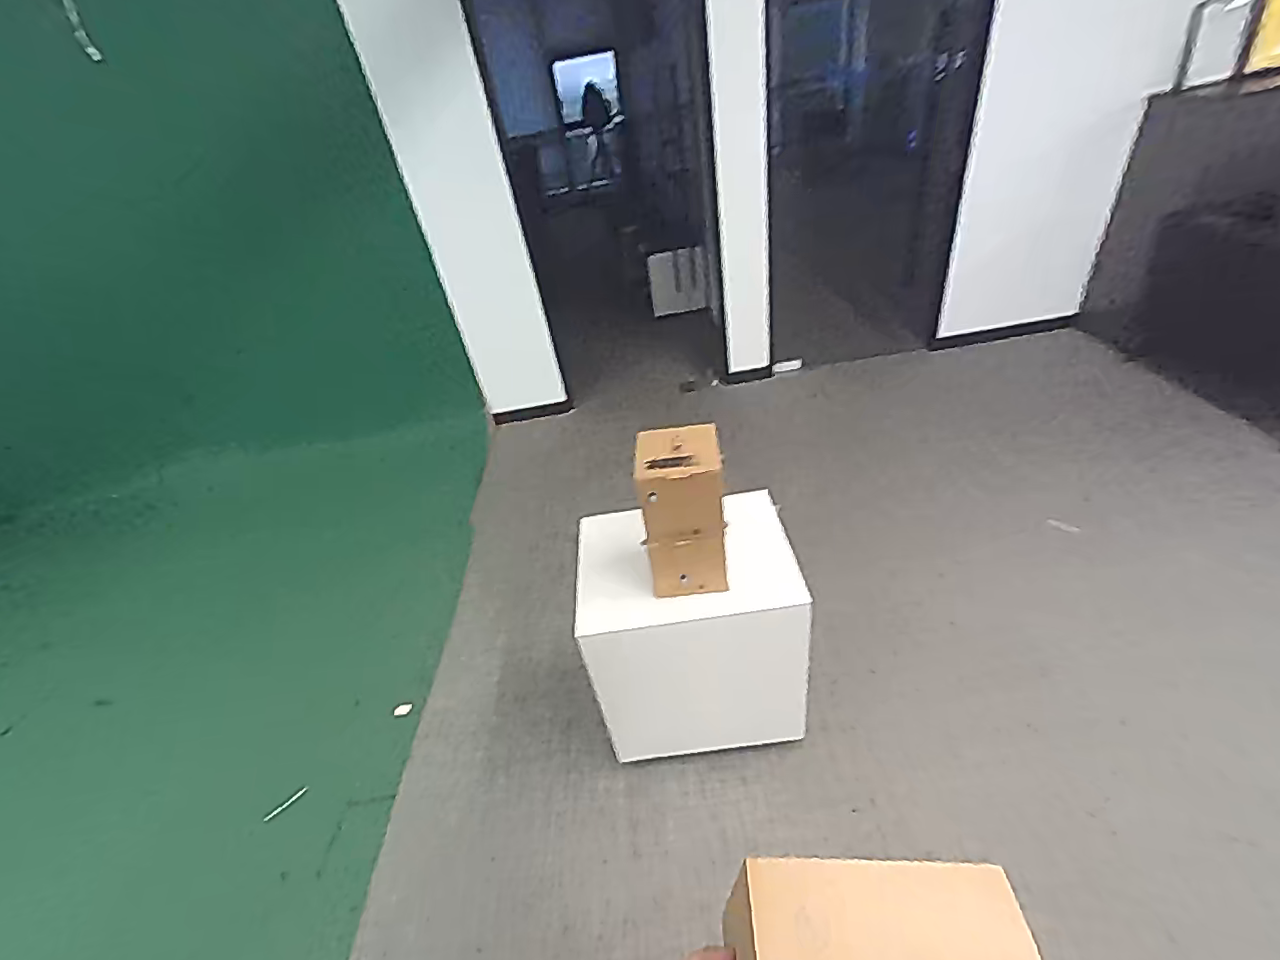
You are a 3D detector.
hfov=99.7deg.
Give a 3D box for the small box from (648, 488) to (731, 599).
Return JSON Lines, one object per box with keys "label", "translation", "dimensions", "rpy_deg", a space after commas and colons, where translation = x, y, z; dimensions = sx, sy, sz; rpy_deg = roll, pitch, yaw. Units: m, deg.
{"label": "small box", "translation": [0.110, 0.142, 1.214], "dimensions": [0.168, 0.176, 0.179], "rpy_deg": [-8, 34, 5]}
